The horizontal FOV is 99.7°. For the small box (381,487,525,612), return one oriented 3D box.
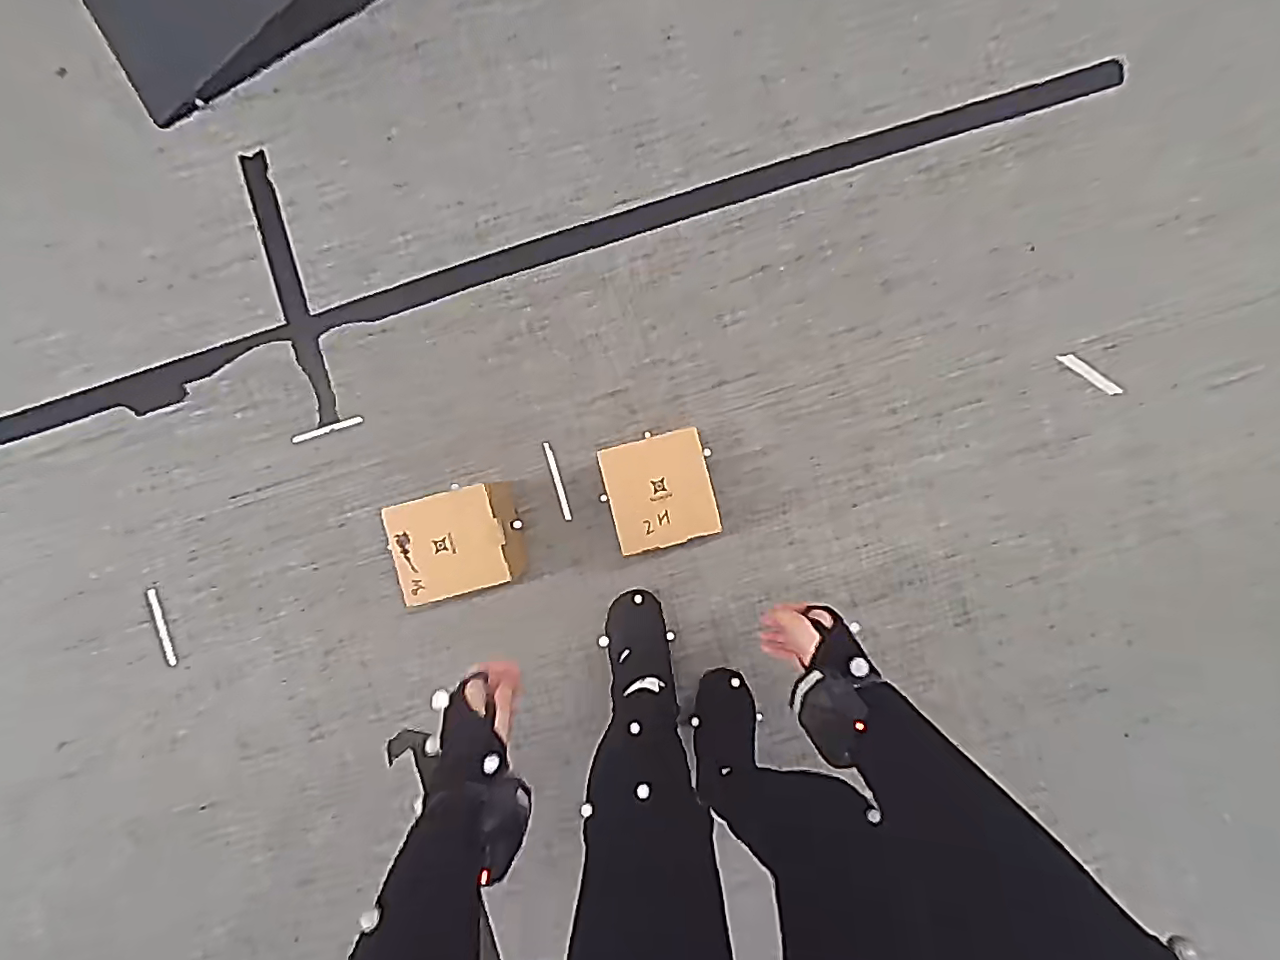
[{"bbox_3d":[-0.306,0.109,0.928,0.179,0.176,0.168,-14,91,-1],"label":"small box"}]

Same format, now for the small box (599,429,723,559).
[{"bbox_3d":[0.032,0.022,0.925,0.168,0.176,0.179,-14,91,1],"label":"small box"}]
